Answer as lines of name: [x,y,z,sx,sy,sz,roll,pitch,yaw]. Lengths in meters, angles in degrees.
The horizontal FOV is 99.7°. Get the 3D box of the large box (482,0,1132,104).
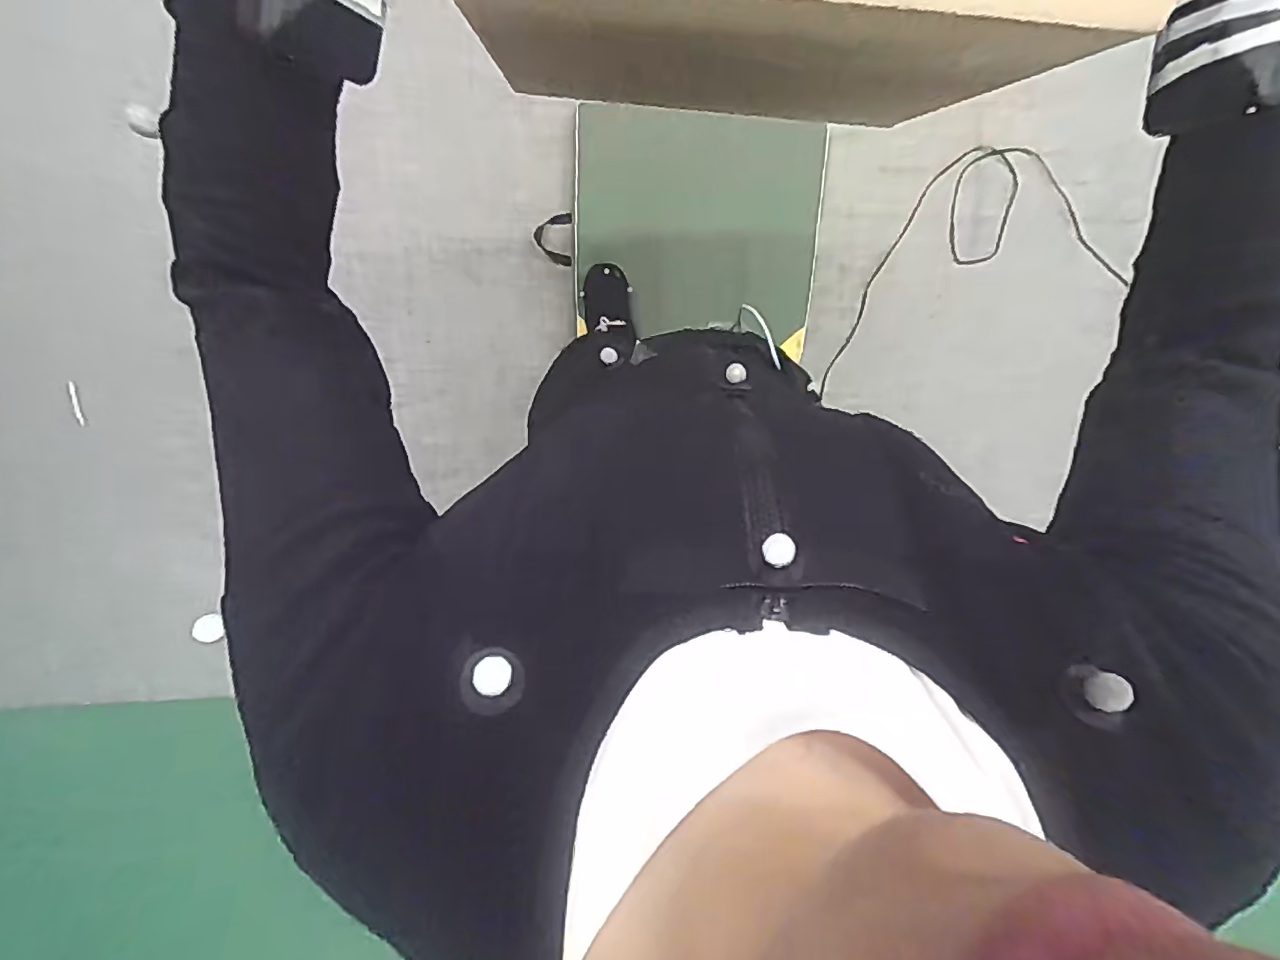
large box: [0.089,-0.476,0.362,0.408,0.320,0.320,1,116,-6]
